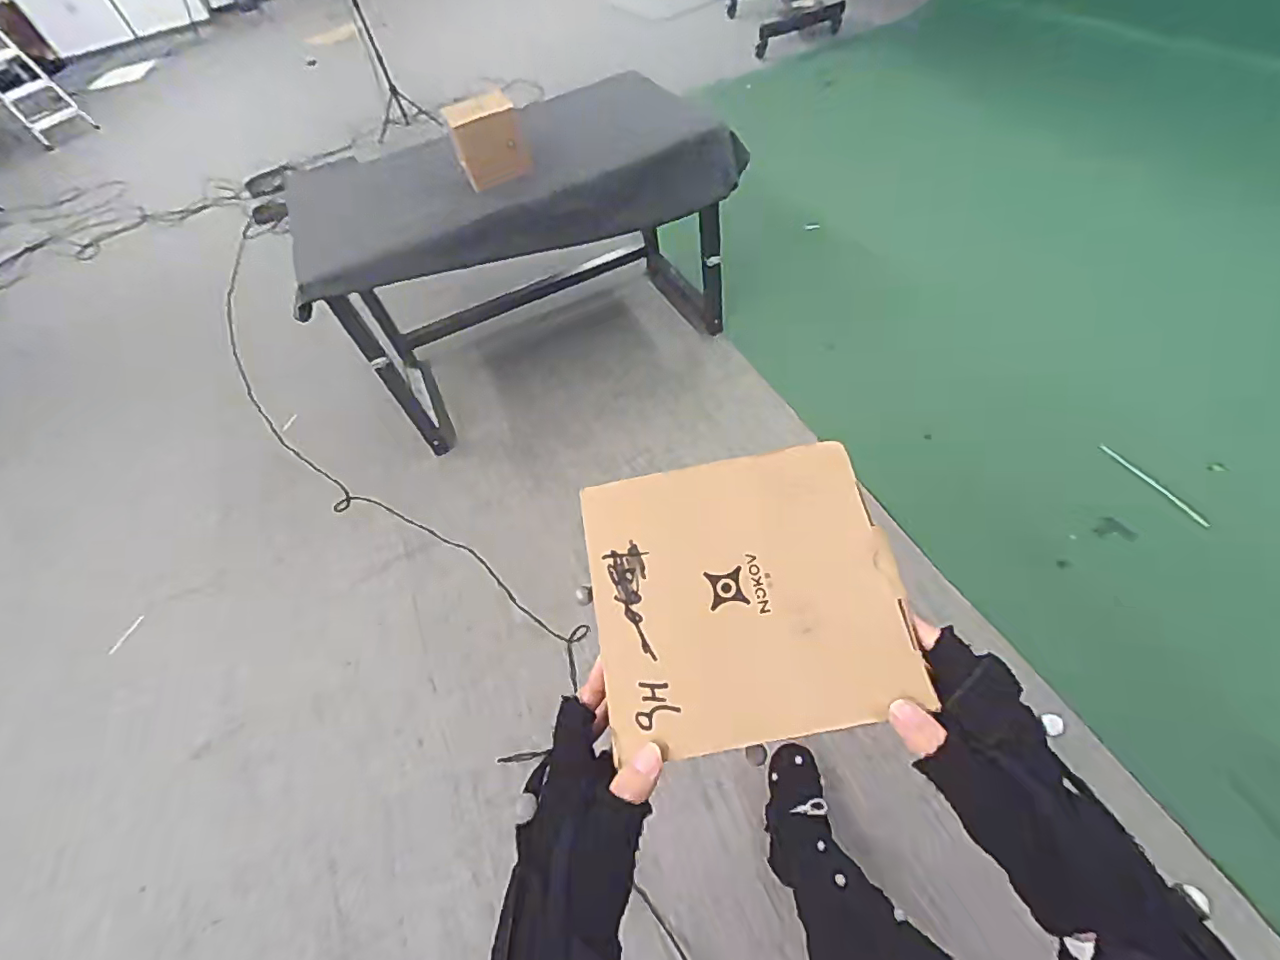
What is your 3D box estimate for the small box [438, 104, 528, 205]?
[{"bbox_3d":[-0.425,-0.897,1.493,0.179,0.176,0.168,-27,52,-8],"label":"small box"}]
